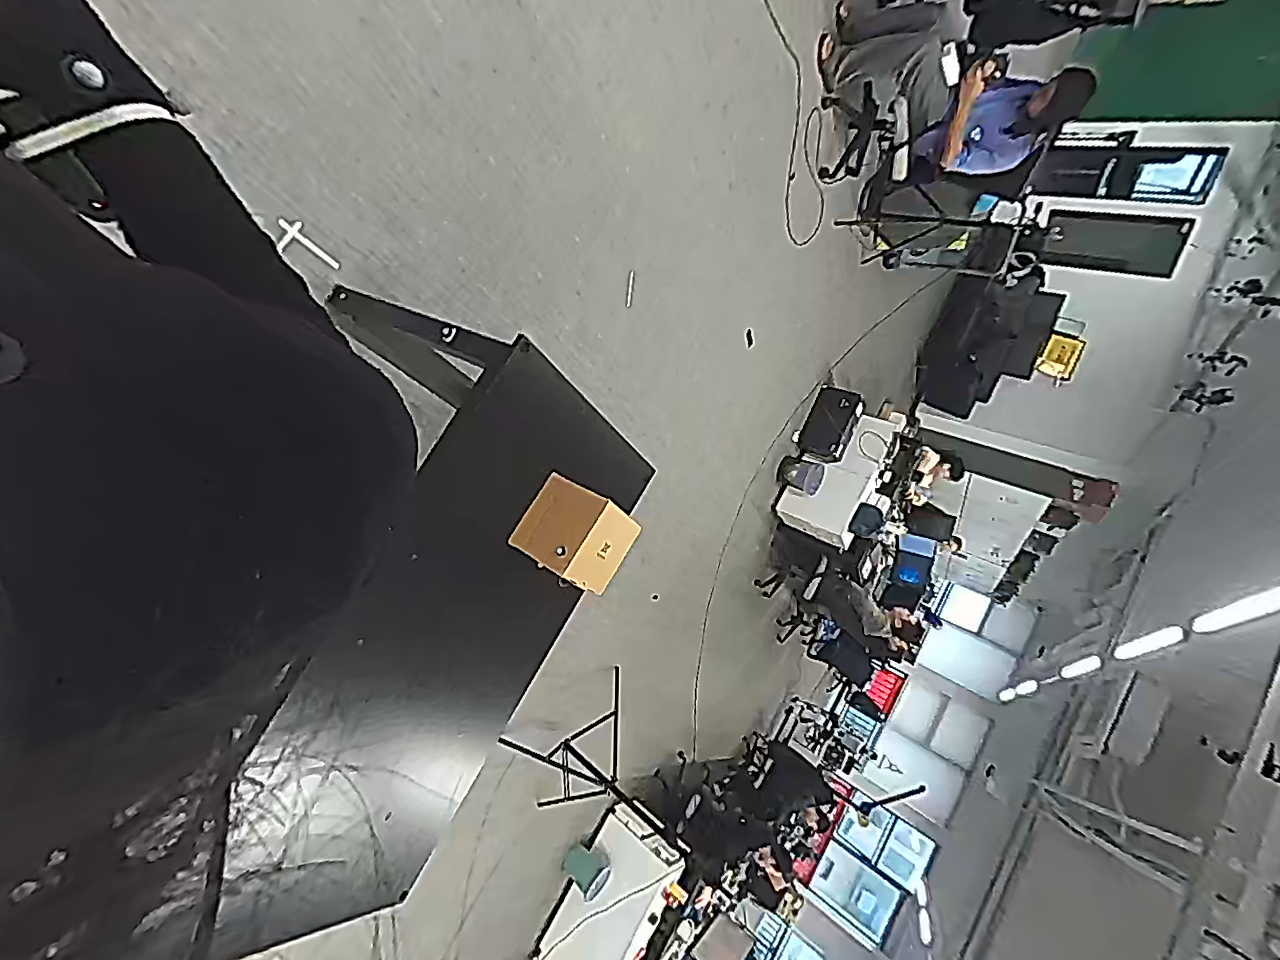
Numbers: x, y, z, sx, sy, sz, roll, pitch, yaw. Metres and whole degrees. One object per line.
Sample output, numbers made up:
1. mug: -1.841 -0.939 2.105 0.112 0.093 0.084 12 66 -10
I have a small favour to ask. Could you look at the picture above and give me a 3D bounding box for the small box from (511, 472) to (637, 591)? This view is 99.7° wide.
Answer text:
1. small box: -0.142 0.107 1.159 0.179 0.176 0.168 -59 147 -10
